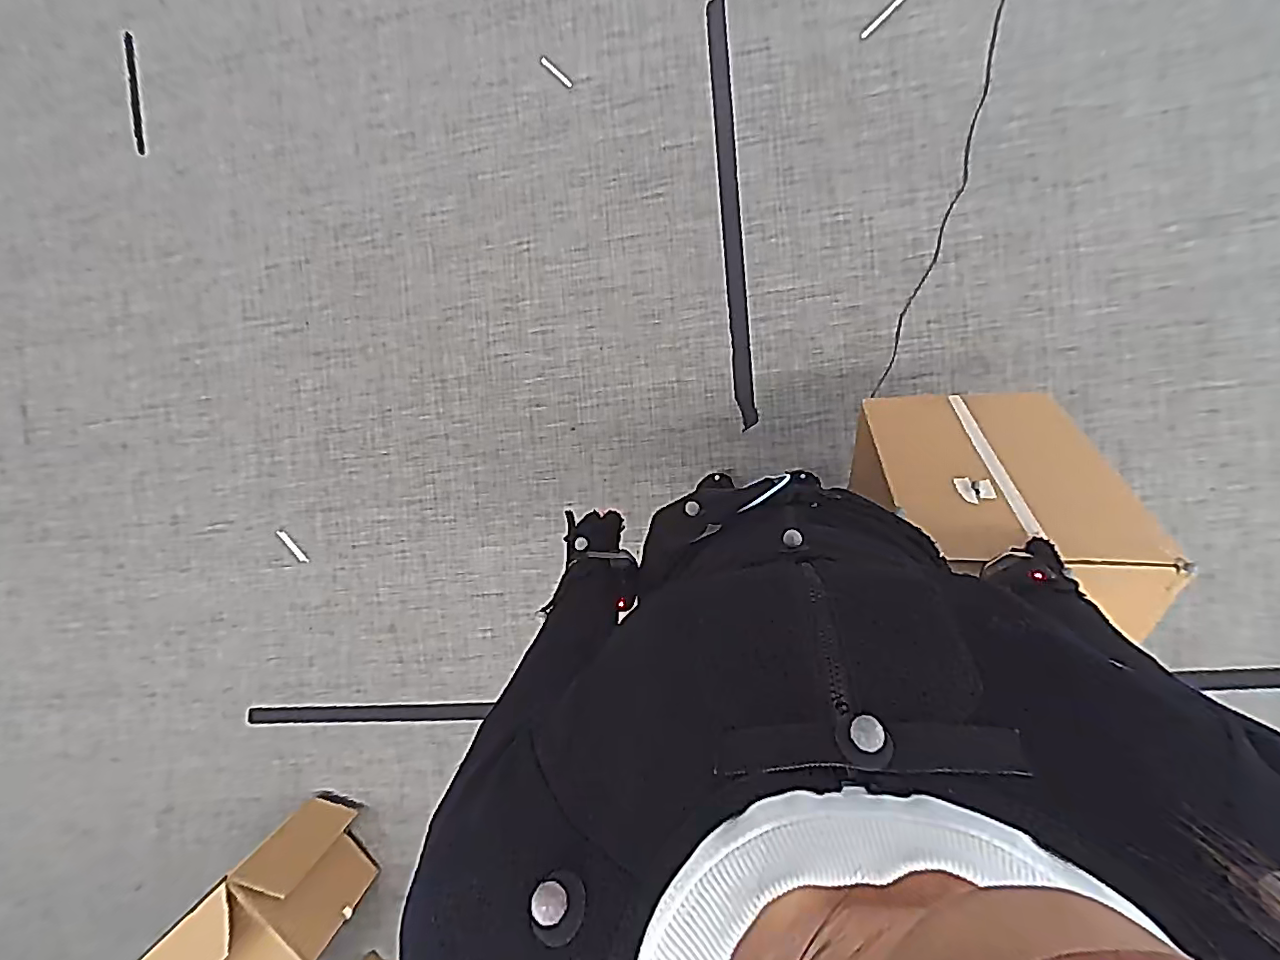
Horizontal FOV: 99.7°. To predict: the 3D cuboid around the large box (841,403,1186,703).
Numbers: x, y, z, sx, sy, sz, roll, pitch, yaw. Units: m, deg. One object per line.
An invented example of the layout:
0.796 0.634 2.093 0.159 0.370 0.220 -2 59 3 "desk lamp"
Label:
0.548 0.105 0.918 0.320 0.408 0.320 -1 129 11 "large box"
